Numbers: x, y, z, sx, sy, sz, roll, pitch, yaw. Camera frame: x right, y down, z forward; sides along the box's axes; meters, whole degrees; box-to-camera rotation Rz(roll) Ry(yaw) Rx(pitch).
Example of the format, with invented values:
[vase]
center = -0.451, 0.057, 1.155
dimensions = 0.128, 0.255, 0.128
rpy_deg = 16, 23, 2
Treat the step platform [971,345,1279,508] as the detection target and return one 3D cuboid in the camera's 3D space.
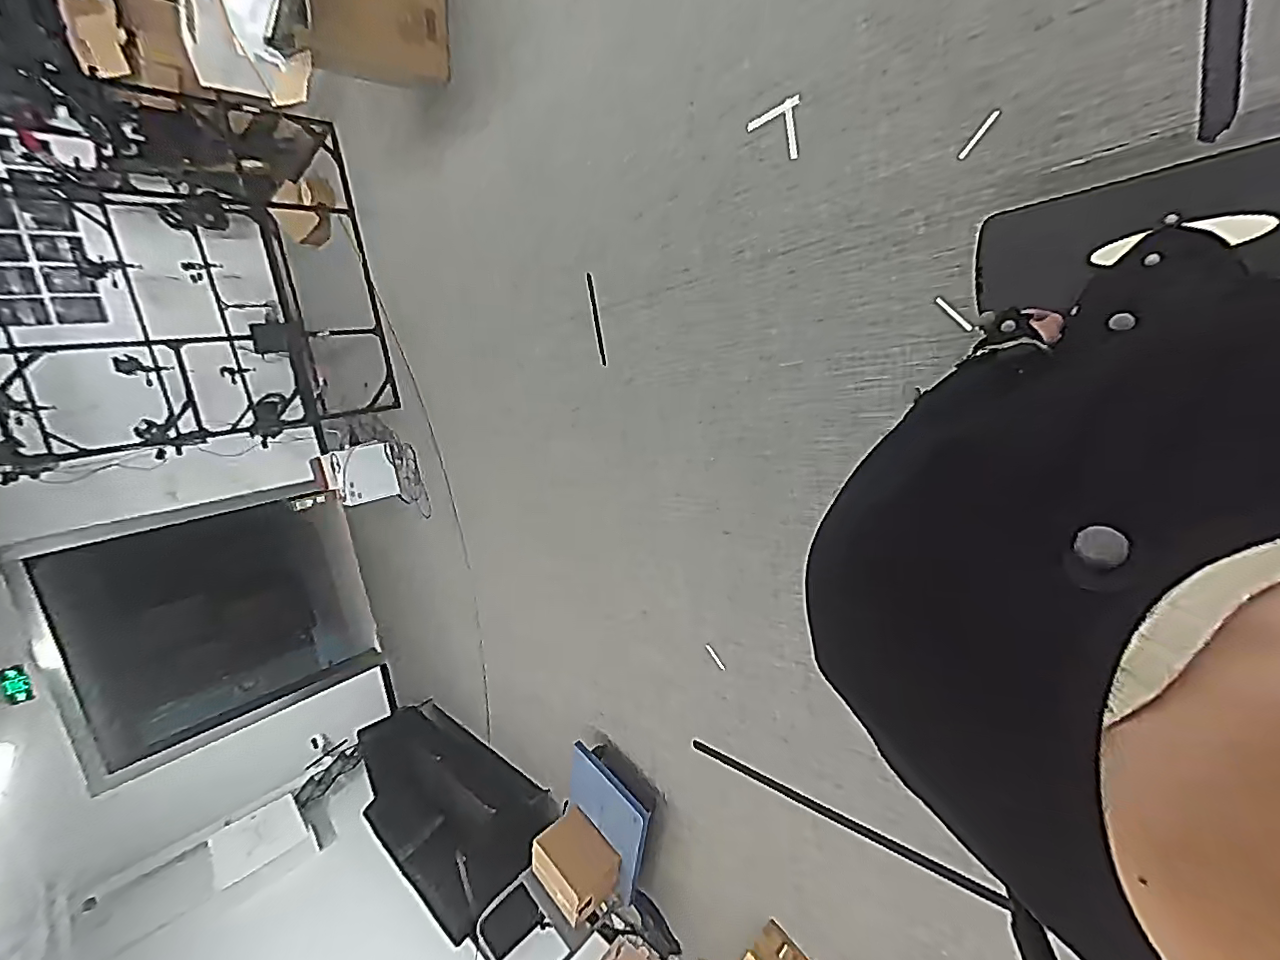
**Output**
[step platform]
center = 1.050, -0.118, 1.061
dimensions = 0.684, 0.204, 0.286
rpy_deg = 10, 110, 47
